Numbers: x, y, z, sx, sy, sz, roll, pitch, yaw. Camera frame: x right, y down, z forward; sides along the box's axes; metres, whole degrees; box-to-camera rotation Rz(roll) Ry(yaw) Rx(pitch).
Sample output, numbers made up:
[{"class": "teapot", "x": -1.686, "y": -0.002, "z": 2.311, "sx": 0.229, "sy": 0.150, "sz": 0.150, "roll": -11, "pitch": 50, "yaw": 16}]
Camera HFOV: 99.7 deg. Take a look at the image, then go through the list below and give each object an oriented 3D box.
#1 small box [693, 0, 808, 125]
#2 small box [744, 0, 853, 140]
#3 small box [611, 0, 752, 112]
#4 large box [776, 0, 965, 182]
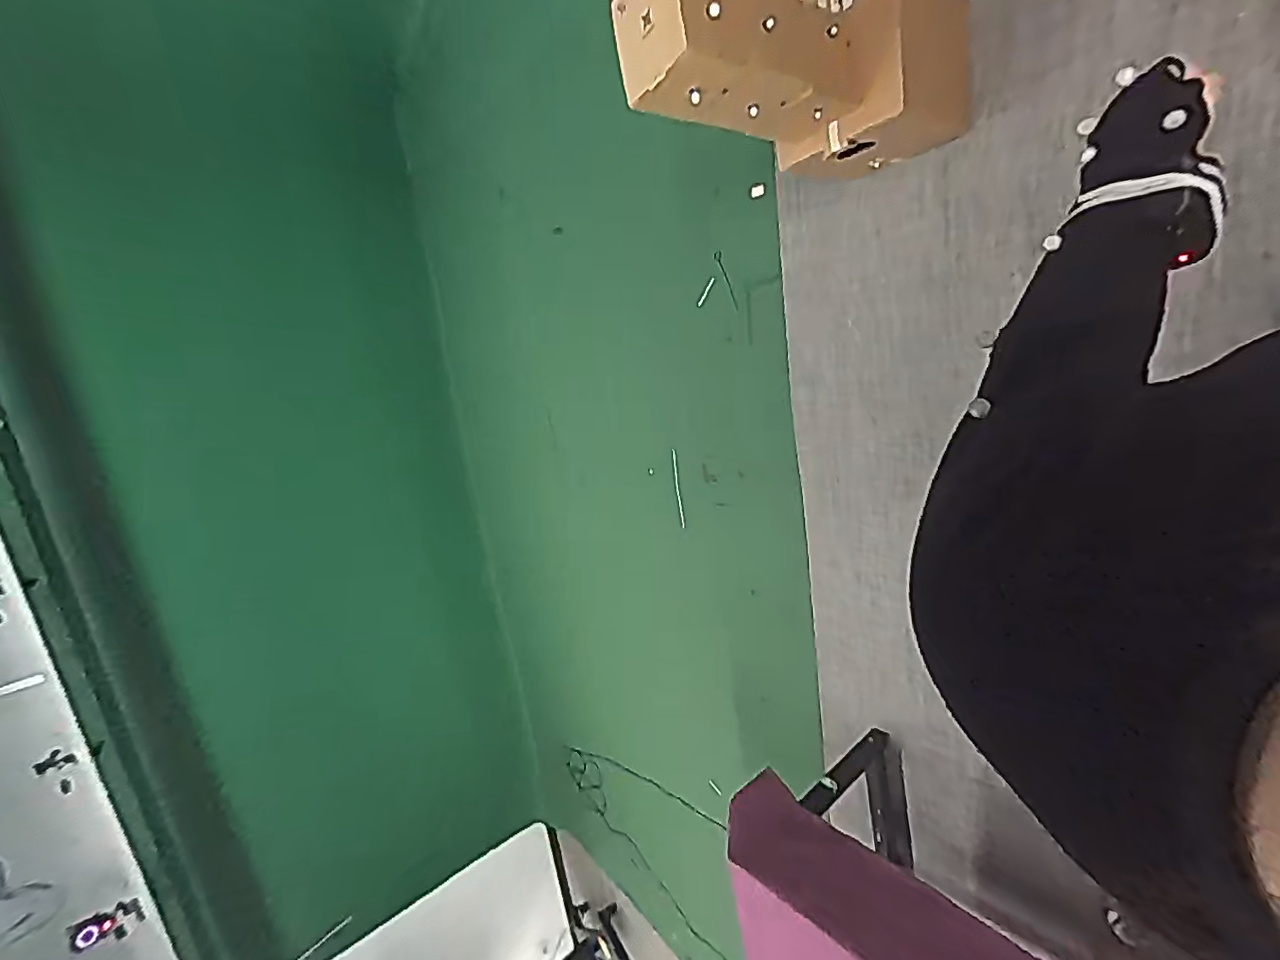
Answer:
[{"class": "small box", "x": 0.204, "y": -0.817, "z": 1.043, "sx": 0.168, "sy": 0.176, "sz": 0.179, "roll": -3, "pitch": 100, "yaw": 53}, {"class": "small box", "x": 0.332, "y": -0.849, "z": 1.140, "sx": 0.179, "sy": 0.176, "sz": 0.168, "roll": 4, "pitch": 106, "yaw": 53}, {"class": "small box", "x": 0.077, "y": -0.777, "z": 0.945, "sx": 0.168, "sy": 0.176, "sz": 0.179, "roll": 1, "pitch": 104, "yaw": 53}, {"class": "large box", "x": 0.520, "y": -0.973, "z": 1.256, "sx": 0.320, "sy": 0.320, "sz": 0.408, "roll": 6, "pitch": 107, "yaw": 52}]
